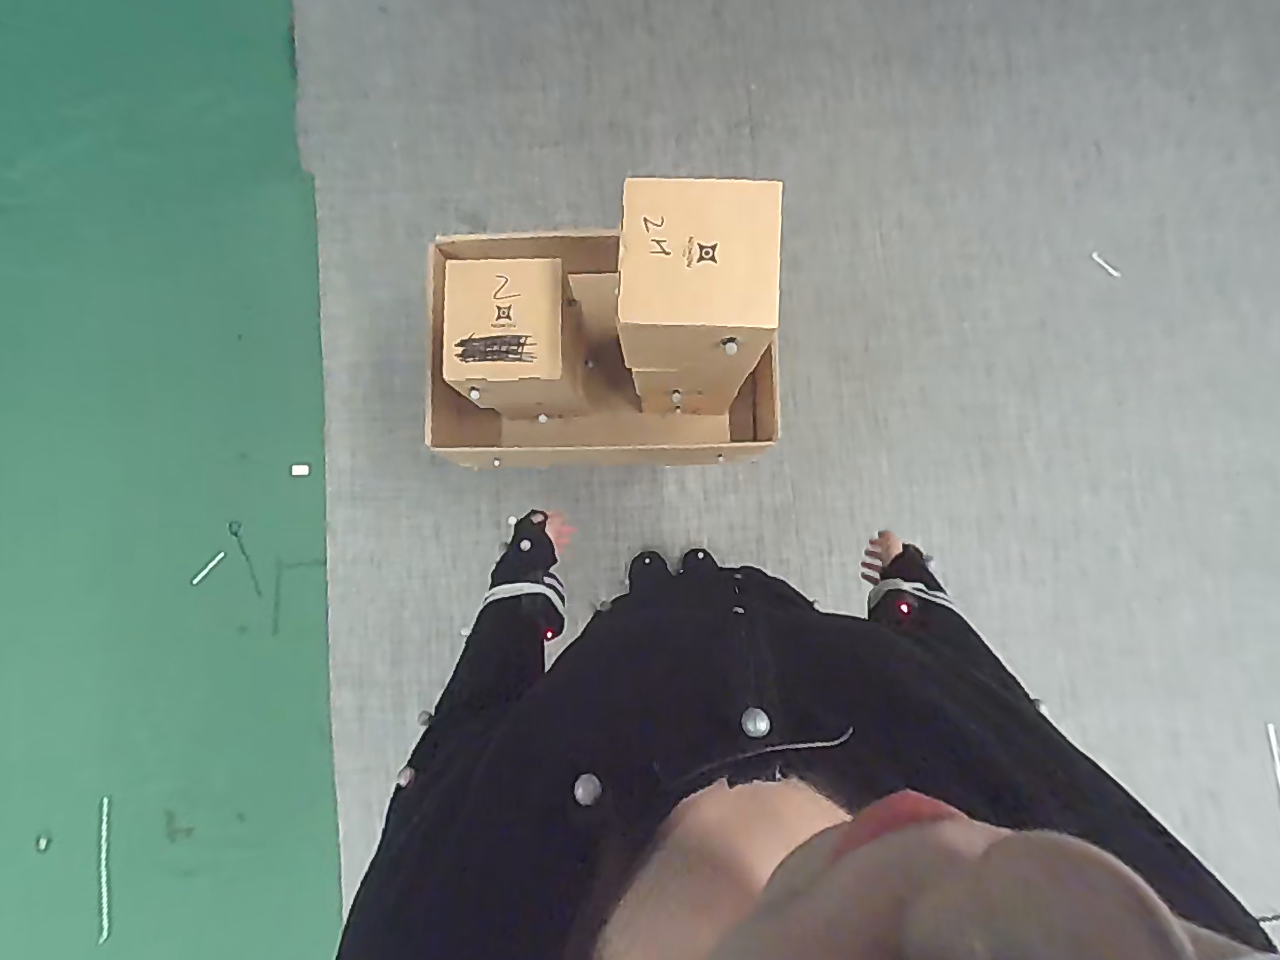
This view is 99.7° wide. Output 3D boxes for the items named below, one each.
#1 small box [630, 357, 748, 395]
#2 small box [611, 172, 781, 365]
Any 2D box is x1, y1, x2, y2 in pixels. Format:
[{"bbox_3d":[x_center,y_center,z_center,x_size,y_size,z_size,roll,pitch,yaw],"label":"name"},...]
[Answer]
[{"bbox_3d":[0.072,-0.237,0.825,0.168,0.176,0.179,1,87,3],"label":"small box"},{"bbox_3d":[0.064,-0.244,0.661,0.179,0.176,0.168,3,86,4],"label":"small box"}]
